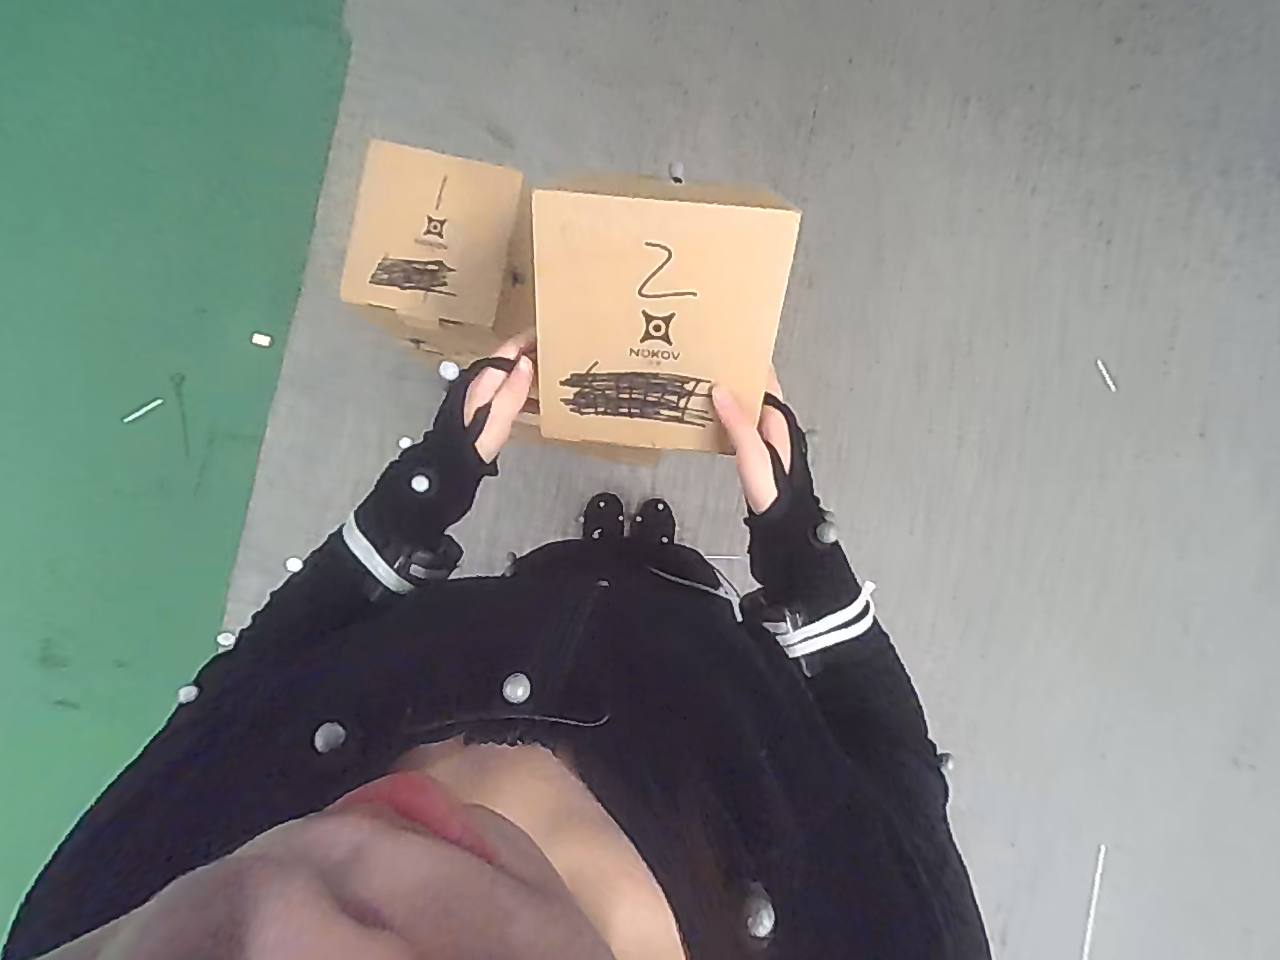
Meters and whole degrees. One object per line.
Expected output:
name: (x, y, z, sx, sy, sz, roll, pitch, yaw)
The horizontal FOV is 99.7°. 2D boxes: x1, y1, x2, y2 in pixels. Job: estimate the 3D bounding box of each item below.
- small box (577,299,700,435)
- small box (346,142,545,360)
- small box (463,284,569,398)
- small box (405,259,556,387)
small box: (-0.003, -0.193, 0.978, 0.168, 0.176, 0.179, 18, 89, 1)
small box: (-0.217, -0.256, 0.650, 0.168, 0.176, 0.179, 11, 88, -3)
small box: (-0.228, -0.256, 0.979, 0.168, 0.176, 0.179, 13, 89, -2)
small box: (-0.228, -0.247, 0.815, 0.168, 0.176, 0.179, 11, 90, -3)
